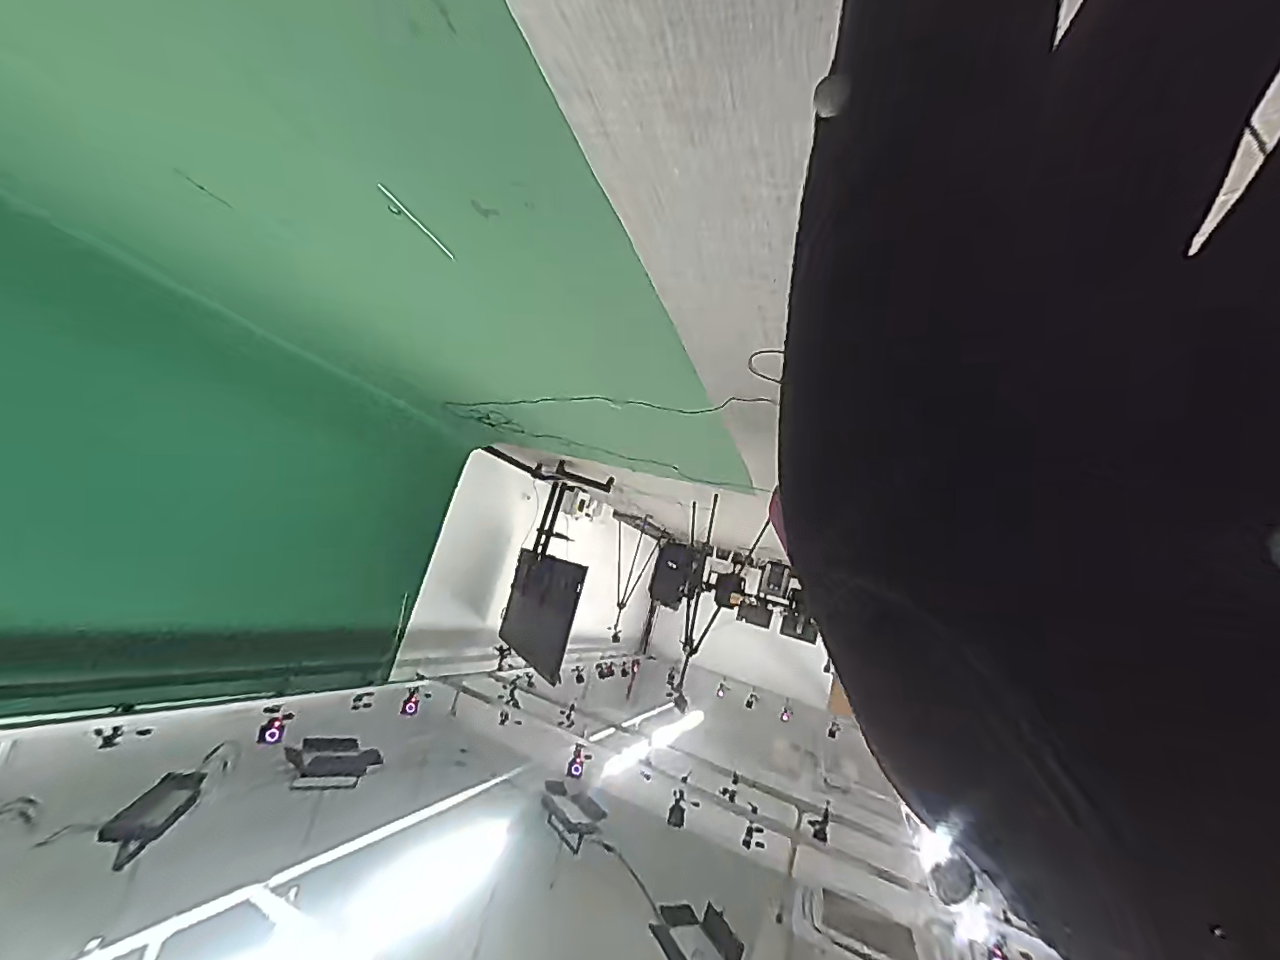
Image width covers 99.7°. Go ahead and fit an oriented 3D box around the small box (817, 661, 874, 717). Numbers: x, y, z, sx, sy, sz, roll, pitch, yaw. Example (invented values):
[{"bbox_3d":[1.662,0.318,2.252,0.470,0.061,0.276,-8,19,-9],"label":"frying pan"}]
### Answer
[{"bbox_3d":[0.827,0.831,2.172,0.179,0.176,0.168,10,170,29],"label":"small box"}]
